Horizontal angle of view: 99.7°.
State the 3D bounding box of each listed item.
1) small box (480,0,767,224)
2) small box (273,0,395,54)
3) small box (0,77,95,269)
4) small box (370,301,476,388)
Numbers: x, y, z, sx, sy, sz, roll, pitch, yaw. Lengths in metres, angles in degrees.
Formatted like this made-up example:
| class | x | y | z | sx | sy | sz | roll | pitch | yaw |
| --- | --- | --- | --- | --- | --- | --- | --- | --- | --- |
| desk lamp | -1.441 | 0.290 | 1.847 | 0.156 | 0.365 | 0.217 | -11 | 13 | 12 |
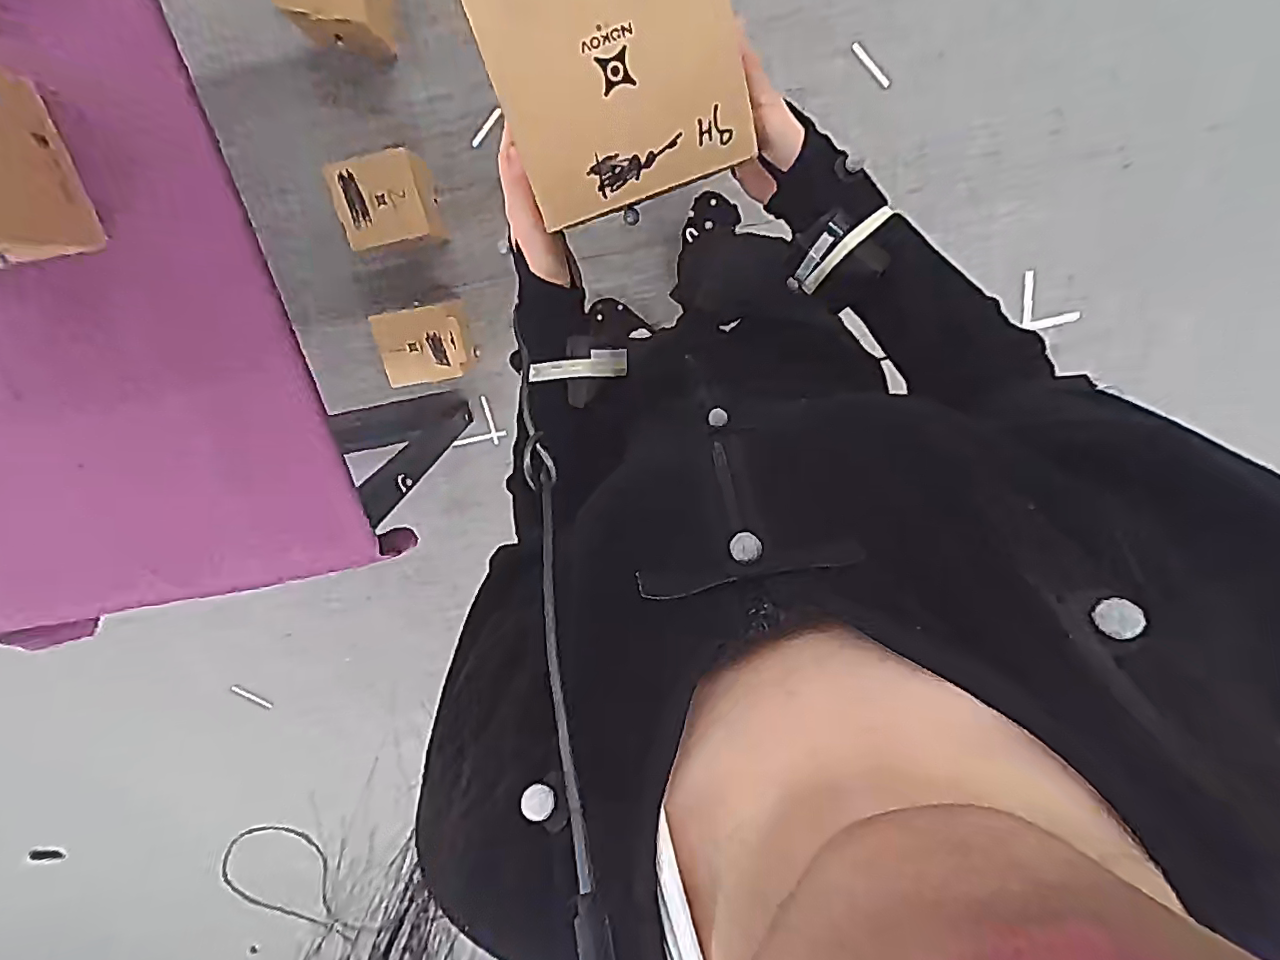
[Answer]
| class | x | y | z | sx | sy | sz | roll | pitch | yaw |
| --- | --- | --- | --- | --- | --- | --- | --- | --- | --- |
| small box | -0.015 | -0.318 | 0.430 | 0.168 | 0.176 | 0.179 | -17 | 115 | 5 |
| small box | -0.589 | -0.969 | 1.047 | 0.168 | 0.176 | 0.179 | 5 | 112 | -6 |
| small box | -0.699 | -0.299 | 0.522 | 0.179 | 0.176 | 0.168 | -9 | 111 | 3 |
| small box | -0.508 | -0.332 | 1.303 | 0.179 | 0.176 | 0.168 | -9 | 112 | 2 |
